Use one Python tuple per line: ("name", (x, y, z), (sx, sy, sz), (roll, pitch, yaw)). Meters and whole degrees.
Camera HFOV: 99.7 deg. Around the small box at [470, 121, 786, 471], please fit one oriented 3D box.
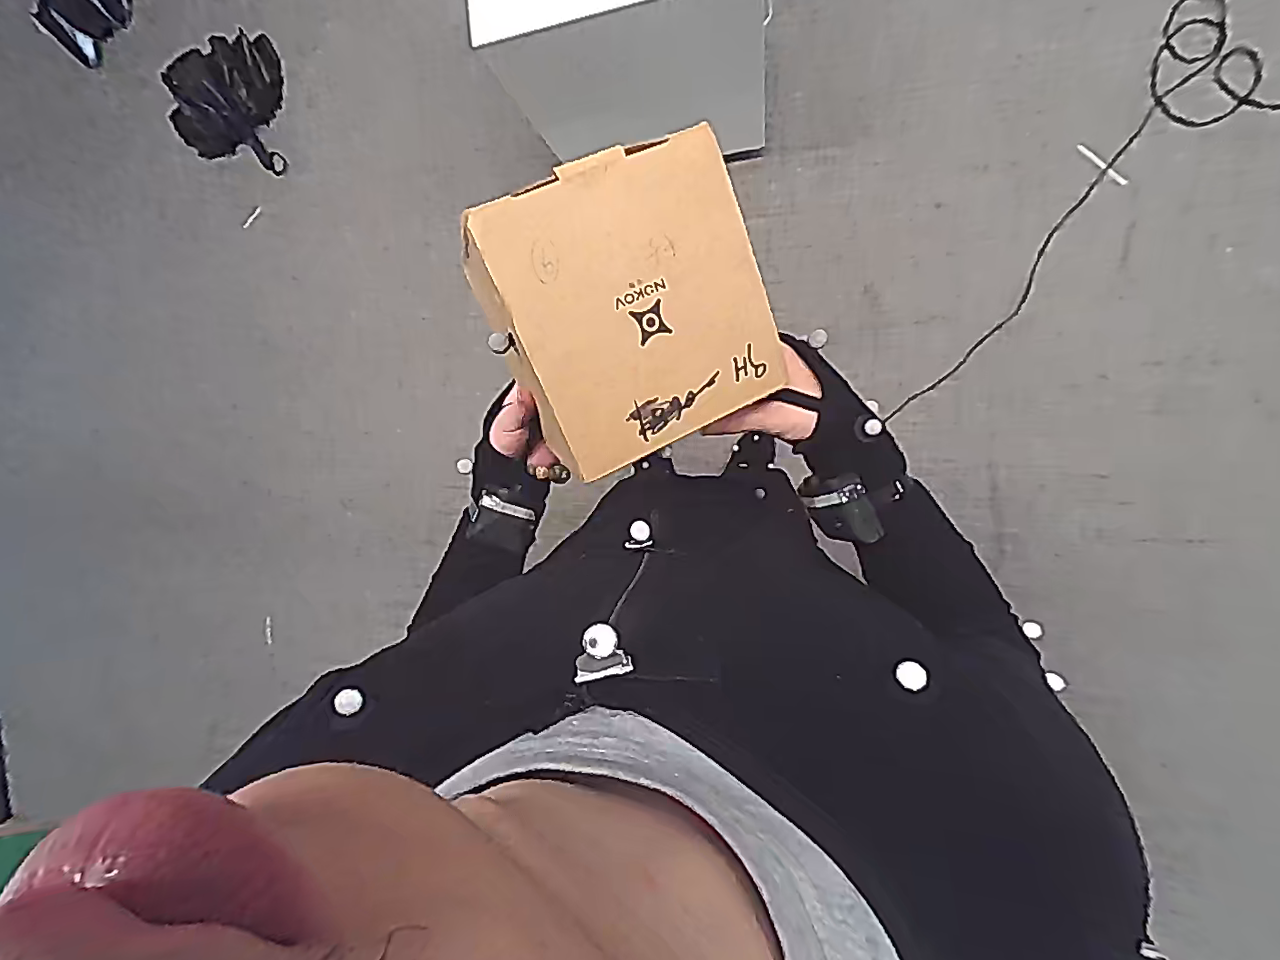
("small box", (-0.021, -0.129, 0.419), (0.168, 0.176, 0.179), (-26, 109, -11))
